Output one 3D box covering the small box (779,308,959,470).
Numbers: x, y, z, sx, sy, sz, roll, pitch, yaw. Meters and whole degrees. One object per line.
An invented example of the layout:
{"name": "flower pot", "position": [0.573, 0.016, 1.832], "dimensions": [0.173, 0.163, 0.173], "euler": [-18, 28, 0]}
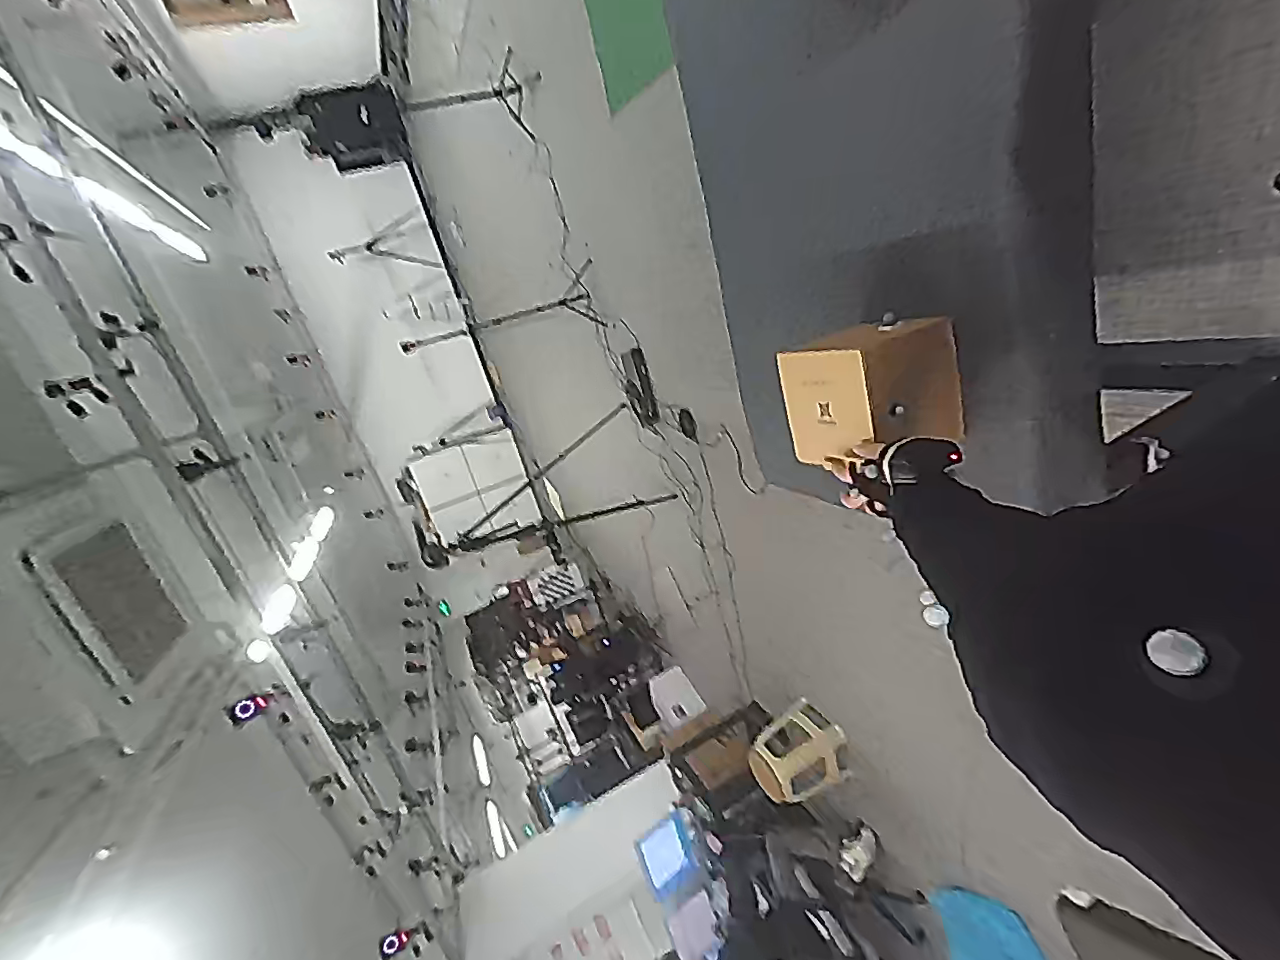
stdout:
{"name": "small box", "position": [0.333, -0.134, 0.784], "dimensions": [0.168, 0.176, 0.179], "euler": [22, 132, 64]}
